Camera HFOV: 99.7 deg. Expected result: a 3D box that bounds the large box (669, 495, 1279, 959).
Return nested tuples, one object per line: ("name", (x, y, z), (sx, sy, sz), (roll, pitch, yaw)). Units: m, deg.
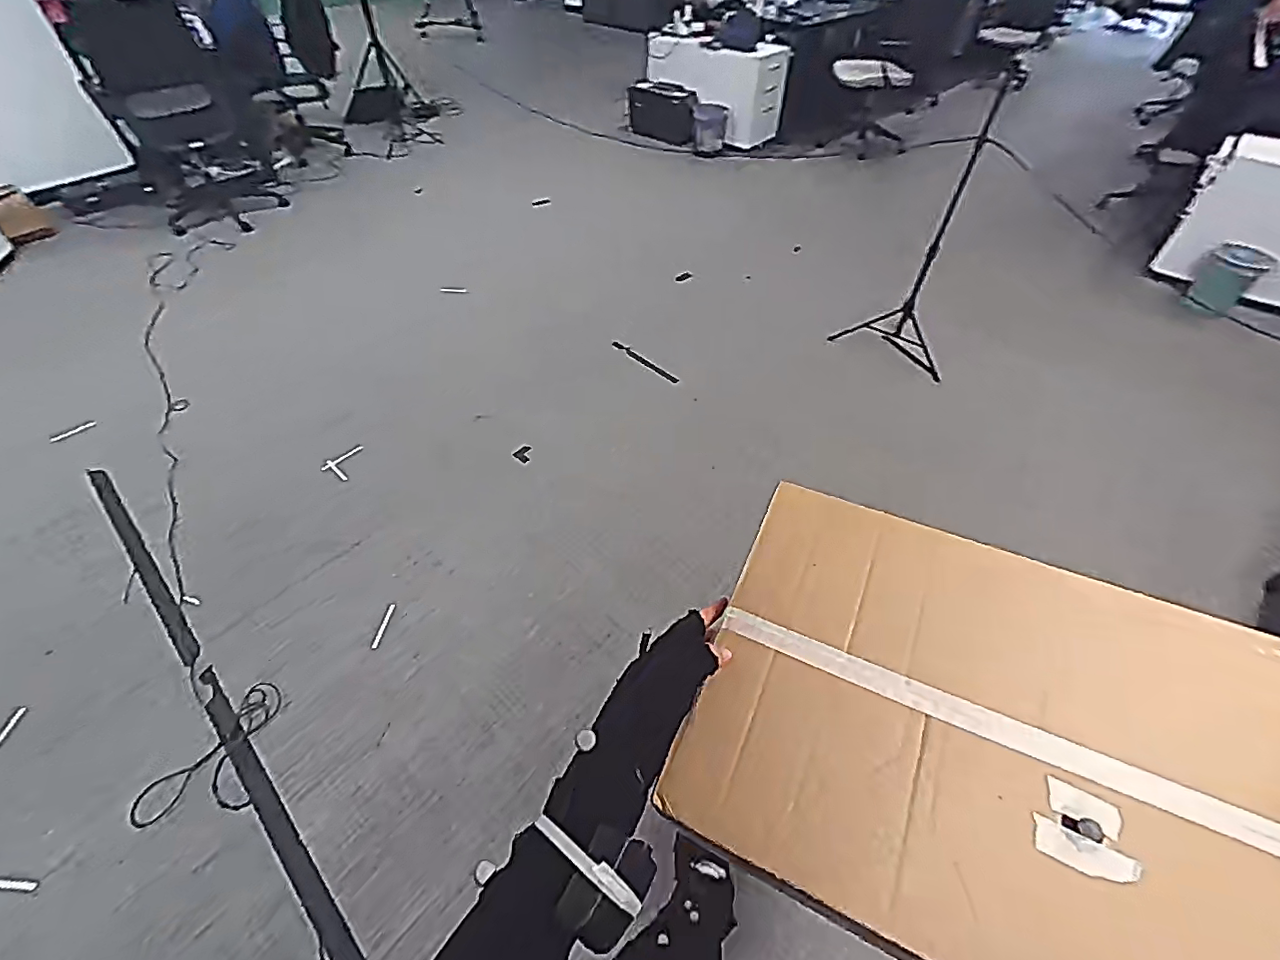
("large box", (0.273, 0.272, 0.542), (0.408, 0.320, 0.320), (19, 60, 19))
